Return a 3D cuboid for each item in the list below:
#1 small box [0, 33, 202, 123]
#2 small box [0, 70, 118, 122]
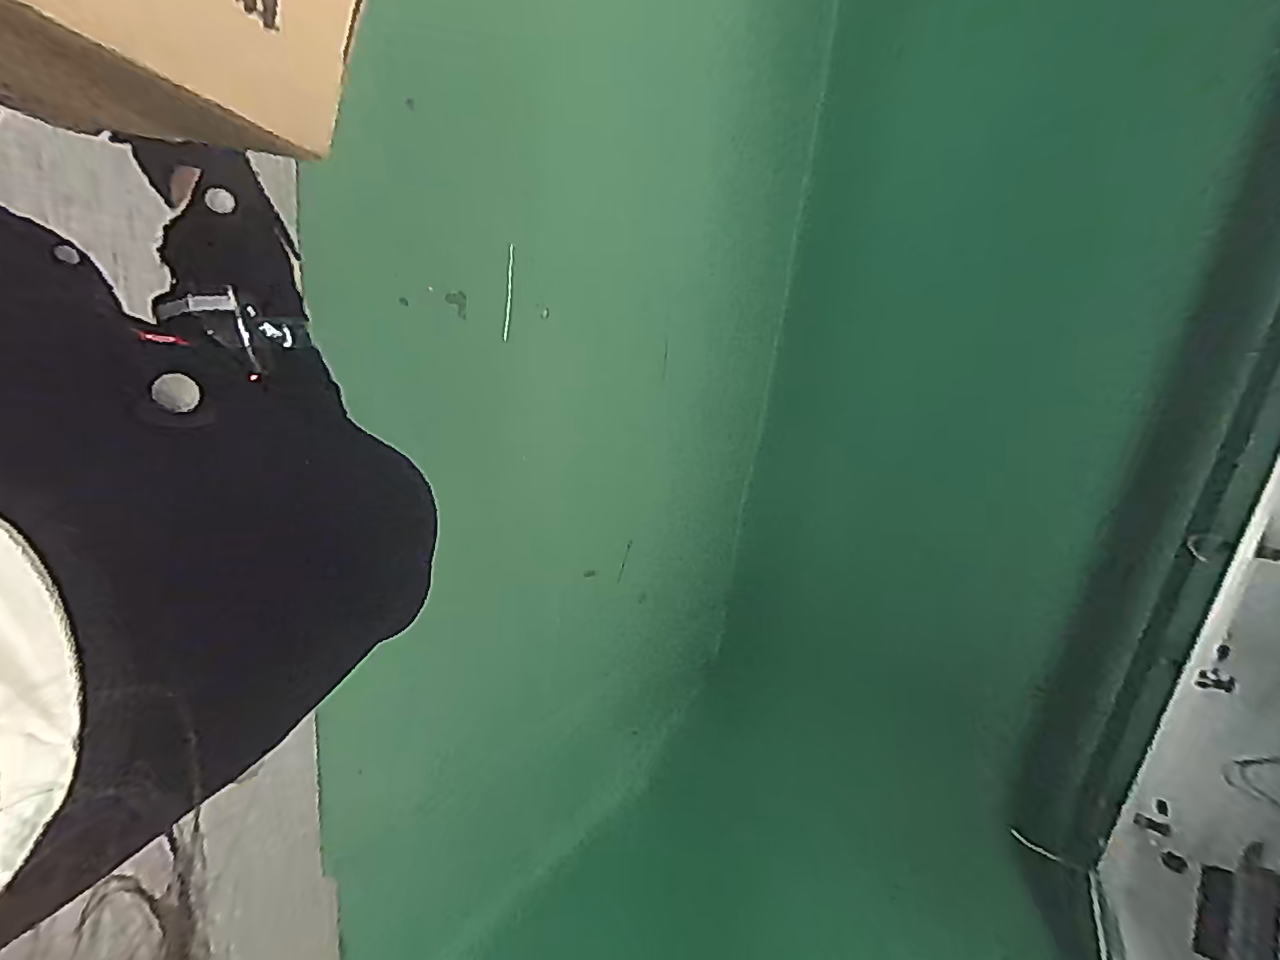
[{"bbox_3d":[-0.310,-0.290,0.231,0.179,0.176,0.168,1,110,-58],"label":"small box"},{"bbox_3d":[-0.436,-0.347,0.318,0.179,0.176,0.168,2,110,-55],"label":"small box"}]
